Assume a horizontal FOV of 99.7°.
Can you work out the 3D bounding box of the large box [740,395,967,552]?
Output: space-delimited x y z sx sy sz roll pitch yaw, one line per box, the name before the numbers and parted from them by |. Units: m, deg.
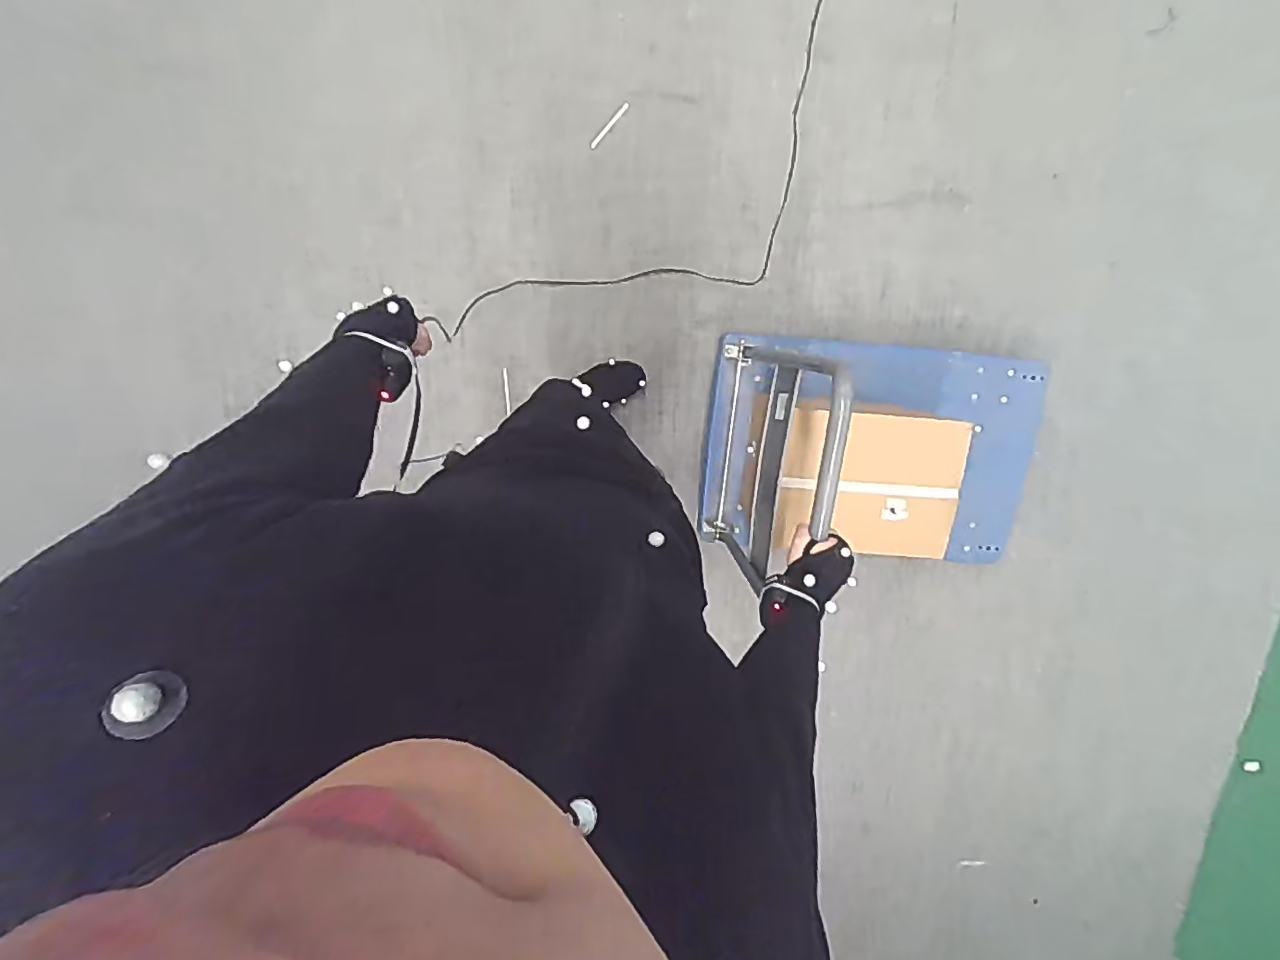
large box | 0.482 -0.032 1.315 0.408 0.320 0.320 4 105 -3
